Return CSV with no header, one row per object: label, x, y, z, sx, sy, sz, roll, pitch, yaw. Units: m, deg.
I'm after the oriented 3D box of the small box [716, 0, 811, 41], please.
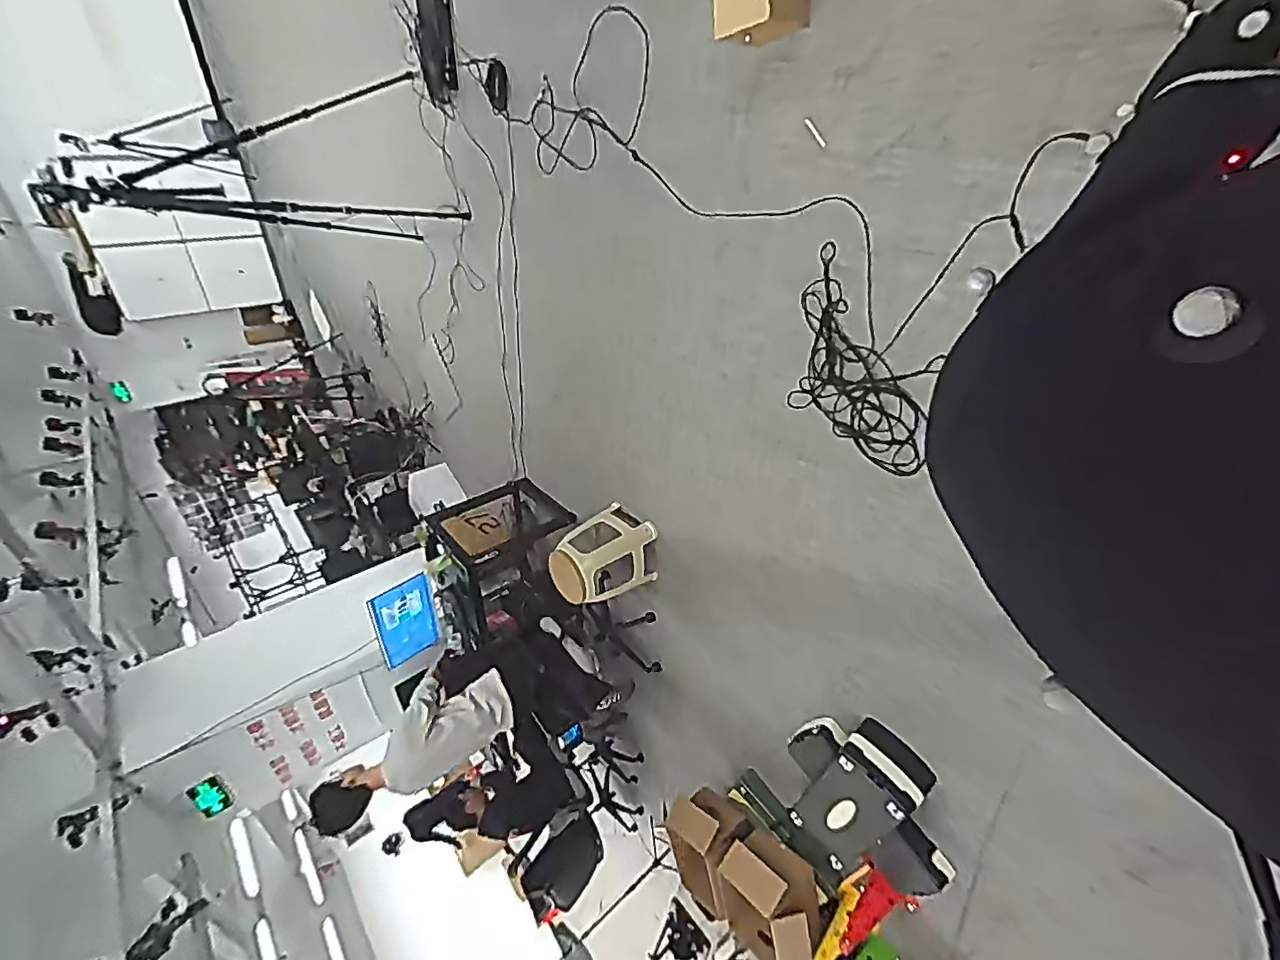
small box,0.307,-1.227,1.349,0.179,0.176,0.168,23,129,45
